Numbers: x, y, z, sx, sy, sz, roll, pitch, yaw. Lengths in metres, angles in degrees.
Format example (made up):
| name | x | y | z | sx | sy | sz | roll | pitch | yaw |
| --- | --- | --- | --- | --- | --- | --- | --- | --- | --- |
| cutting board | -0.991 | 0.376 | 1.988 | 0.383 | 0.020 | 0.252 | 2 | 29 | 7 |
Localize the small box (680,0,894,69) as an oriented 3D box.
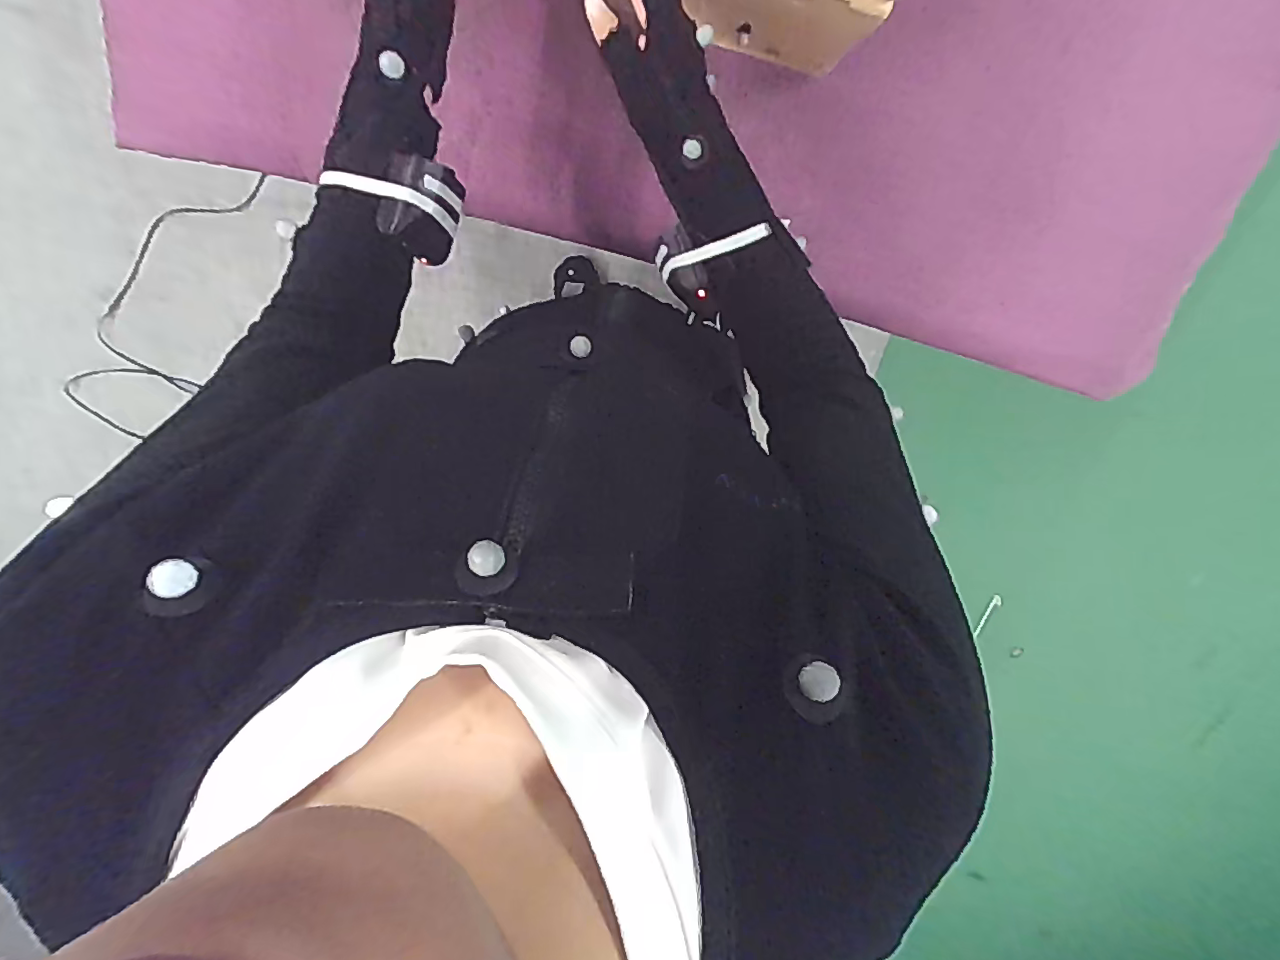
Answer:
| name | x | y | z | sx | sy | sz | roll | pitch | yaw |
| --- | --- | --- | --- | --- | --- | --- | --- | --- | --- |
| small box | 0.134 | -0.486 | 0.449 | 0.168 | 0.176 | 0.179 | 13 | 115 | -6 |
